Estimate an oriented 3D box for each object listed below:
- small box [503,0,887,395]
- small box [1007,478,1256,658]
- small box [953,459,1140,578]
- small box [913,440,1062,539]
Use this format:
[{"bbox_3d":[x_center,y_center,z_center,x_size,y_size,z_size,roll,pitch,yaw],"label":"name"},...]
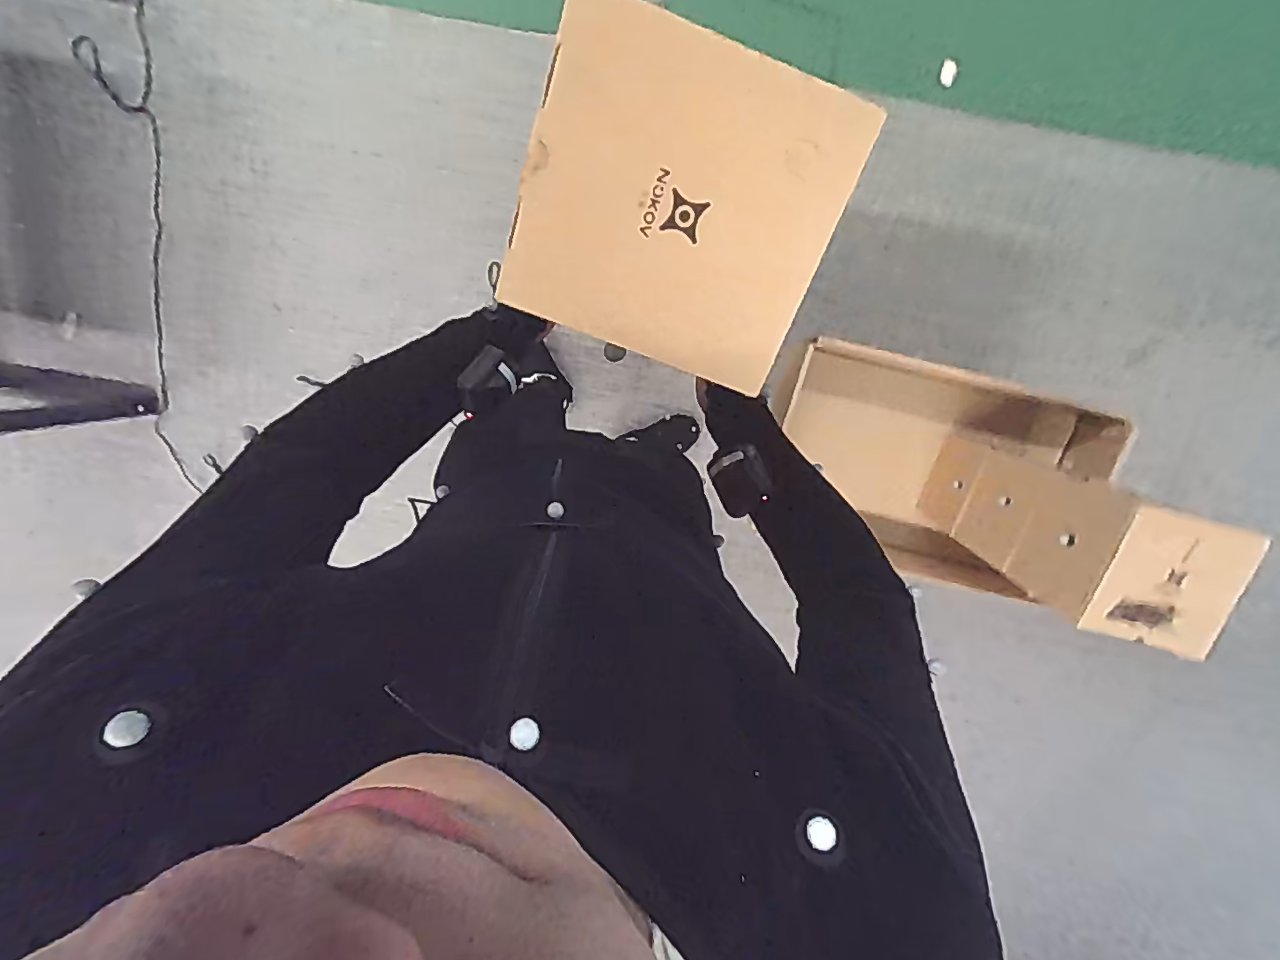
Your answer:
[{"bbox_3d":[0.026,-0.182,0.379,0.179,0.176,0.168,19,112,-6],"label":"small box"},{"bbox_3d":[0.667,0.114,0.766,0.168,0.176,0.179,15,104,0],"label":"small box"},{"bbox_3d":[0.677,0.074,0.925,0.168,0.176,0.179,16,103,0],"label":"small box"},{"bbox_3d":[0.684,0.032,1.084,0.168,0.176,0.179,17,105,-1],"label":"small box"}]
